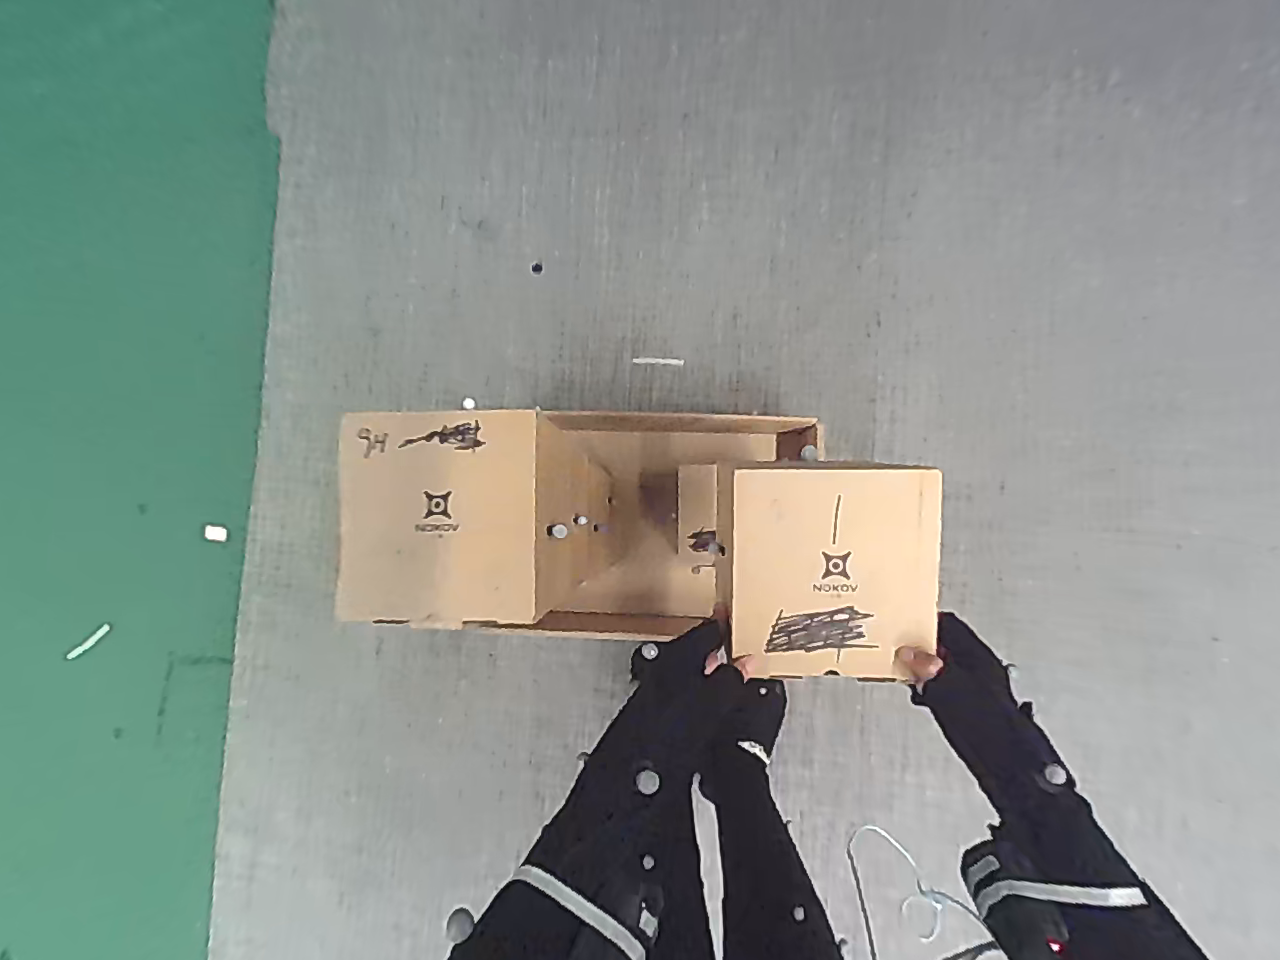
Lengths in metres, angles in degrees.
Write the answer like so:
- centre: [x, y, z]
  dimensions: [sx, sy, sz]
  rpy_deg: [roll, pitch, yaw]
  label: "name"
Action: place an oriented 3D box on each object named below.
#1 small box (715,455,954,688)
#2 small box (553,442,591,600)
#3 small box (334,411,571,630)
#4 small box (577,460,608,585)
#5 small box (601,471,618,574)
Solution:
- centre: [0.164, 0.071, 0.514]
  dimensions: [0.168, 0.176, 0.179]
  rpy_deg: [3, 95, 2]
  label: "small box"
- centre: [-0.153, 0.047, 0.674]
  dimensions: [0.168, 0.176, 0.179]
  rpy_deg: [0, 86, 3]
  label: "small box"
- centre: [-0.159, 0.034, 0.511]
  dimensions: [0.168, 0.176, 0.179]
  rpy_deg: [0, 88, 2]
  label: "small box"
- centre: [-0.141, 0.062, 0.836]
  dimensions: [0.168, 0.176, 0.179]
  rpy_deg: [1, 87, 3]
  label: "small box"
- centre: [-0.132, 0.073, 0.999]
  dimensions: [0.168, 0.176, 0.179]
  rpy_deg: [3, 87, 4]
  label: "small box"
